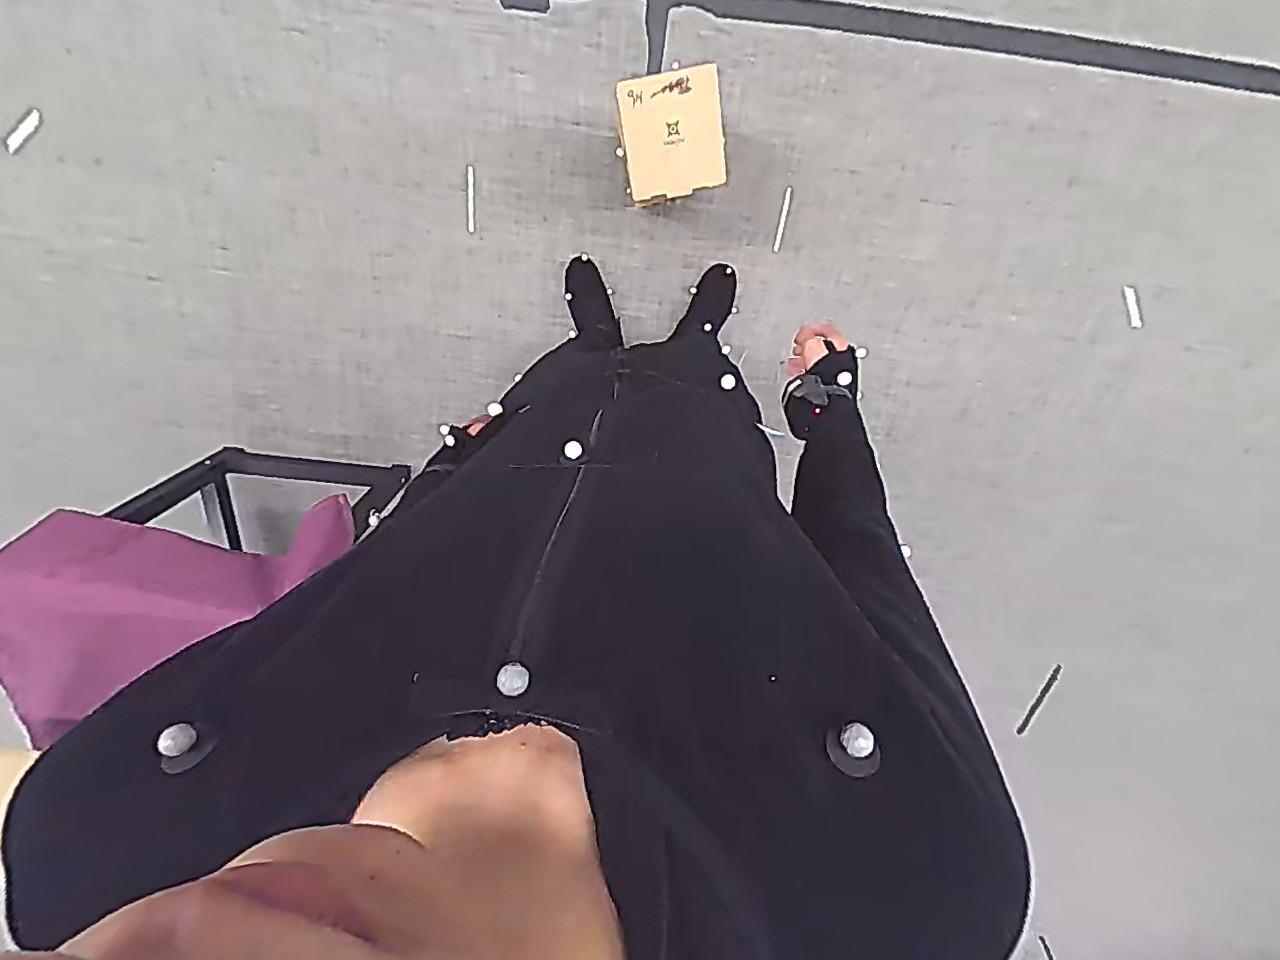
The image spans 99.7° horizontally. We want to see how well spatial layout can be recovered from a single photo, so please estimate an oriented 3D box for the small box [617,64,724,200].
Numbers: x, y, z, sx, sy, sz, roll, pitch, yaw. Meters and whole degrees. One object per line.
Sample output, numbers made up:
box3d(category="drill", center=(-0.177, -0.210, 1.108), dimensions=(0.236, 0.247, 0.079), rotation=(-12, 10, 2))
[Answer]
box3d(category="small box", center=(0.055, -0.615, 0.974), dimensions=(0.168, 0.176, 0.179), rotation=(-8, 117, 4))
